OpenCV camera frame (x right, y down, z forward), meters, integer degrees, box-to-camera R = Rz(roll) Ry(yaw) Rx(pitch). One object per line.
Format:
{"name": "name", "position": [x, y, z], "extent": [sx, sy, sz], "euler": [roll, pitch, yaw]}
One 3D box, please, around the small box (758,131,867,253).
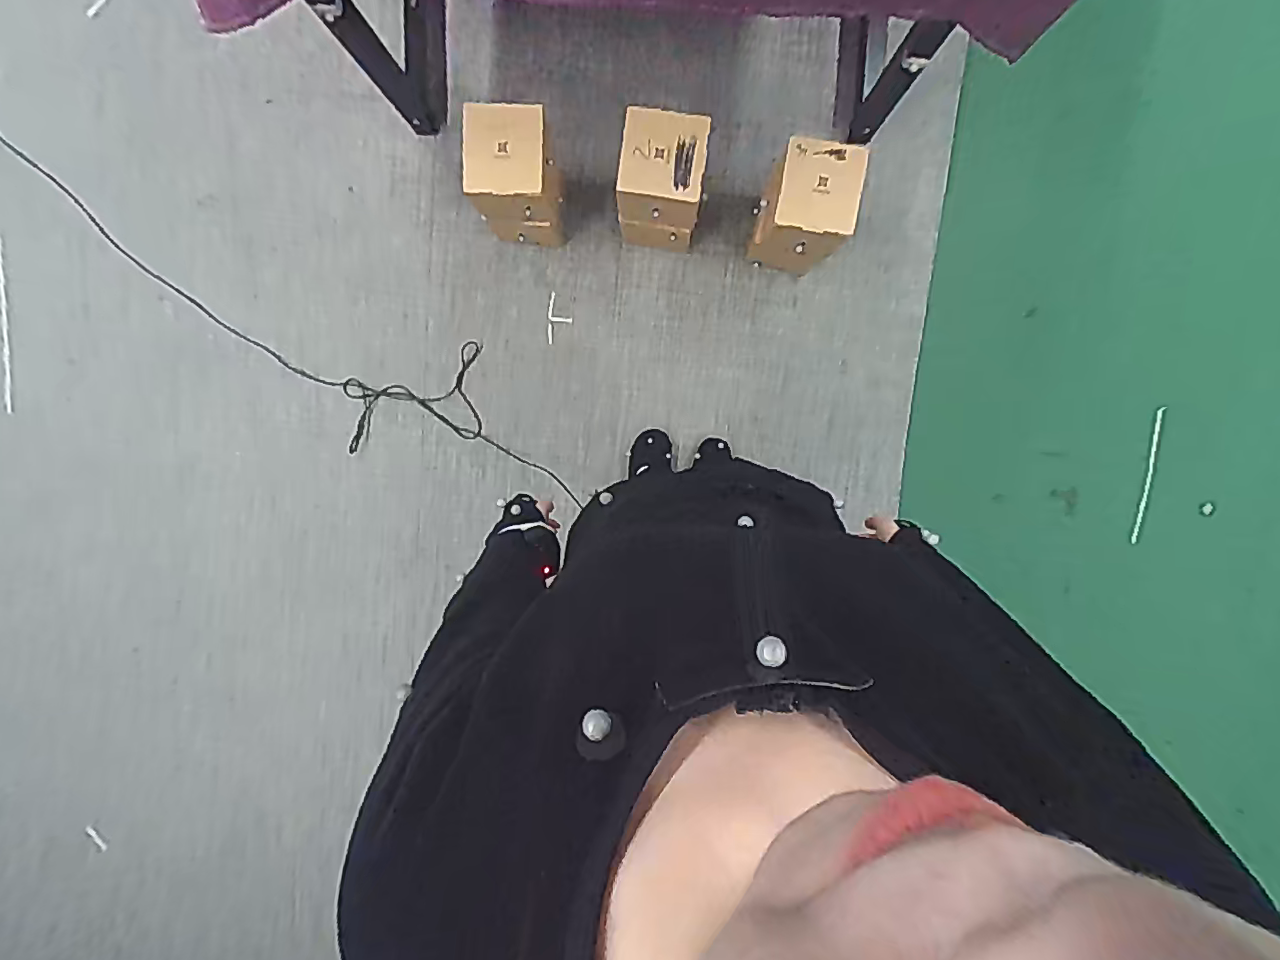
{"name": "small box", "position": [0.363, -0.612, 1.173], "extent": [0.168, 0.176, 0.179], "euler": [10, 98, -2]}

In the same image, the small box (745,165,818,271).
{"name": "small box", "position": [0.365, -0.638, 1.337], "extent": [0.168, 0.176, 0.179], "euler": [14, 96, 0]}
